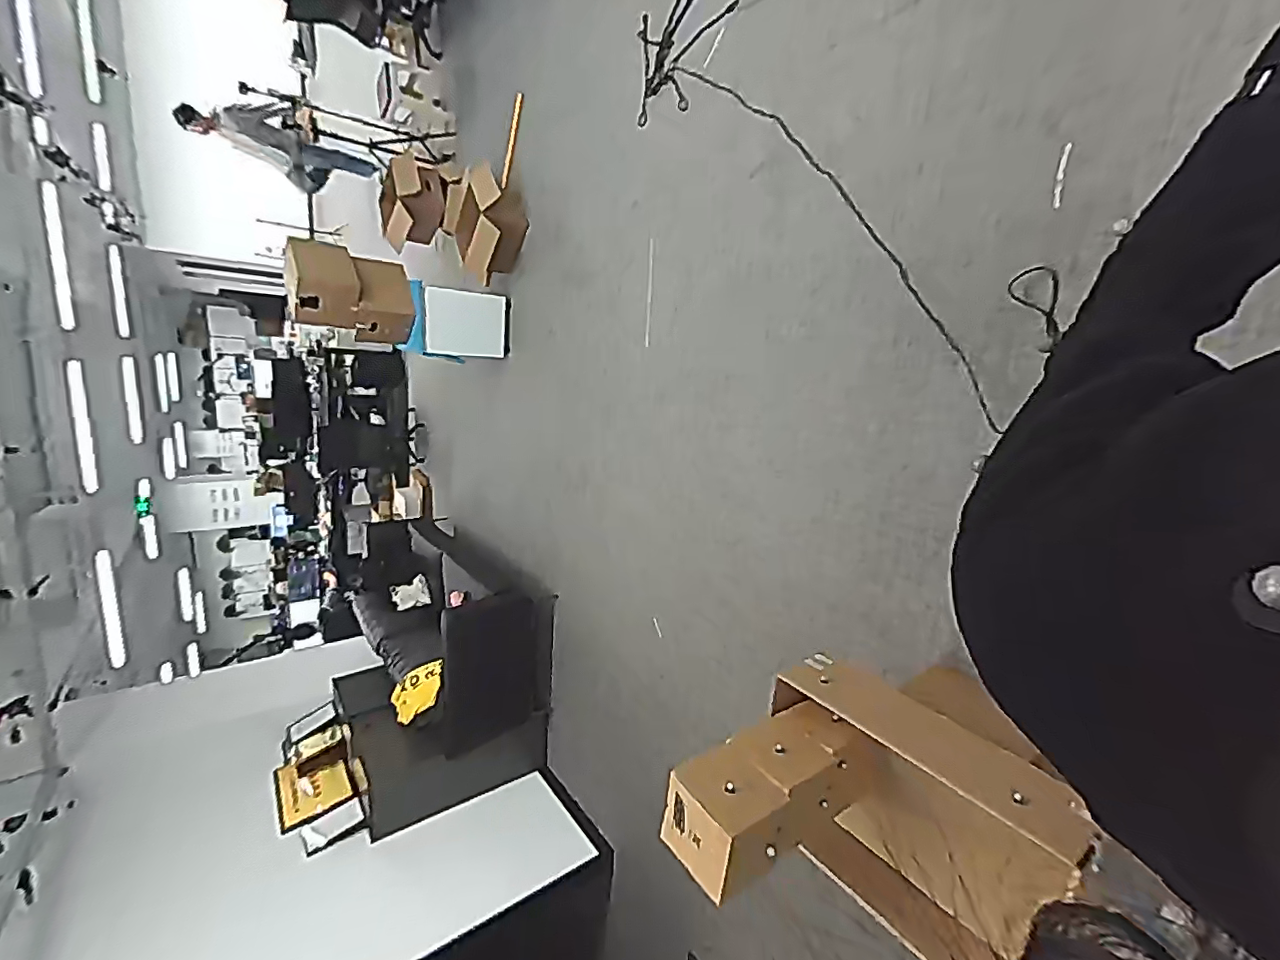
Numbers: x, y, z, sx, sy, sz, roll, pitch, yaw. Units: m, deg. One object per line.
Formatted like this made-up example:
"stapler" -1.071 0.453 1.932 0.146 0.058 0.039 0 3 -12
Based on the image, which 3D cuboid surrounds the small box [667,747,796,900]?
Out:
"small box" 0.180 0.671 1.085 0.179 0.176 0.168 25 114 49
